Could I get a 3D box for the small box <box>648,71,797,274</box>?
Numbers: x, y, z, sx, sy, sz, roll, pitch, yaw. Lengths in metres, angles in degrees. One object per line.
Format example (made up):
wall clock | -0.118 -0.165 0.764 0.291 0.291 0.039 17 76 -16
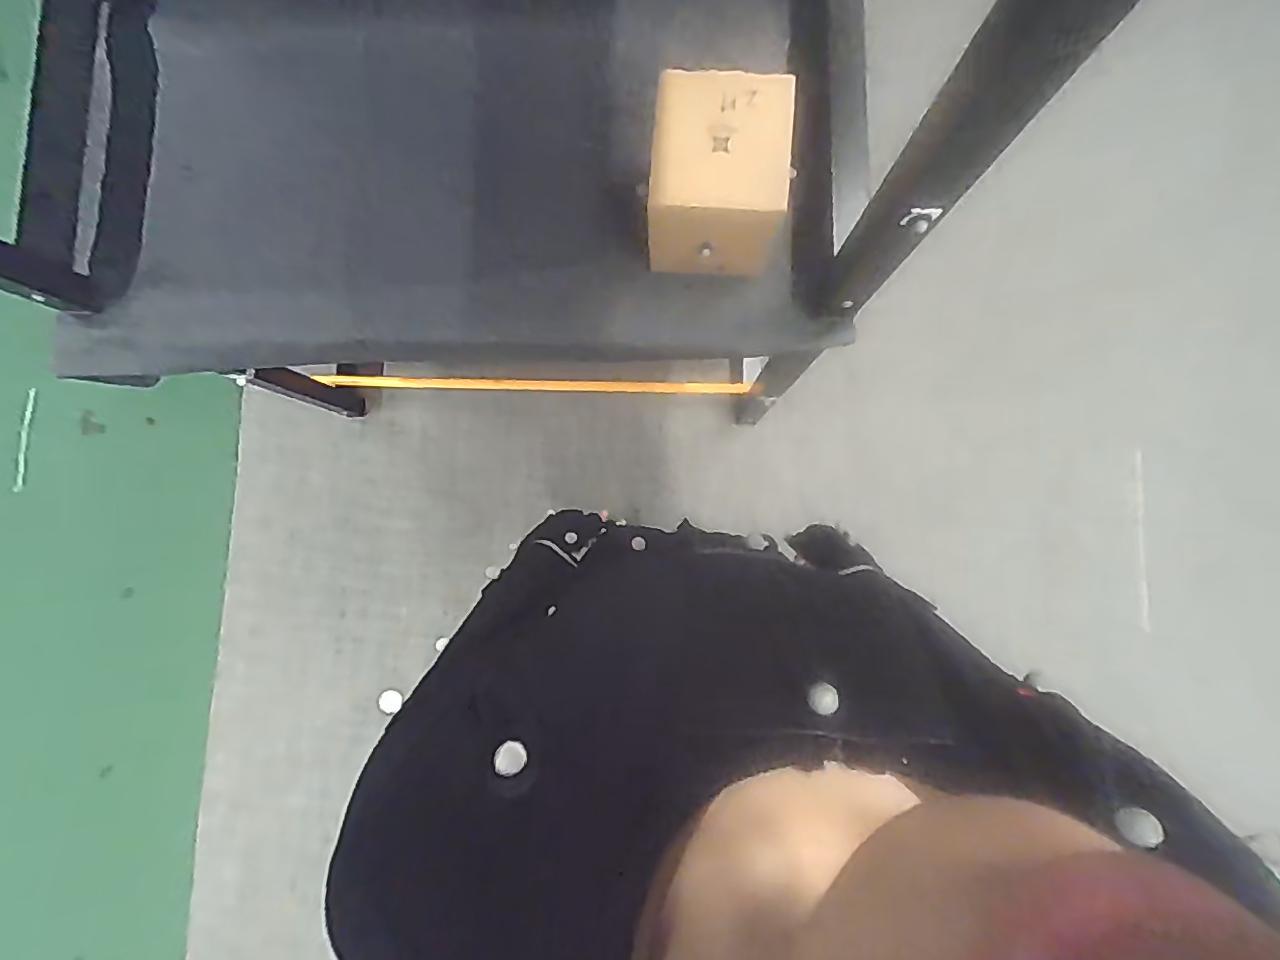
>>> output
small box | 0.103 -0.396 0.723 0.168 0.176 0.179 5 85 2
